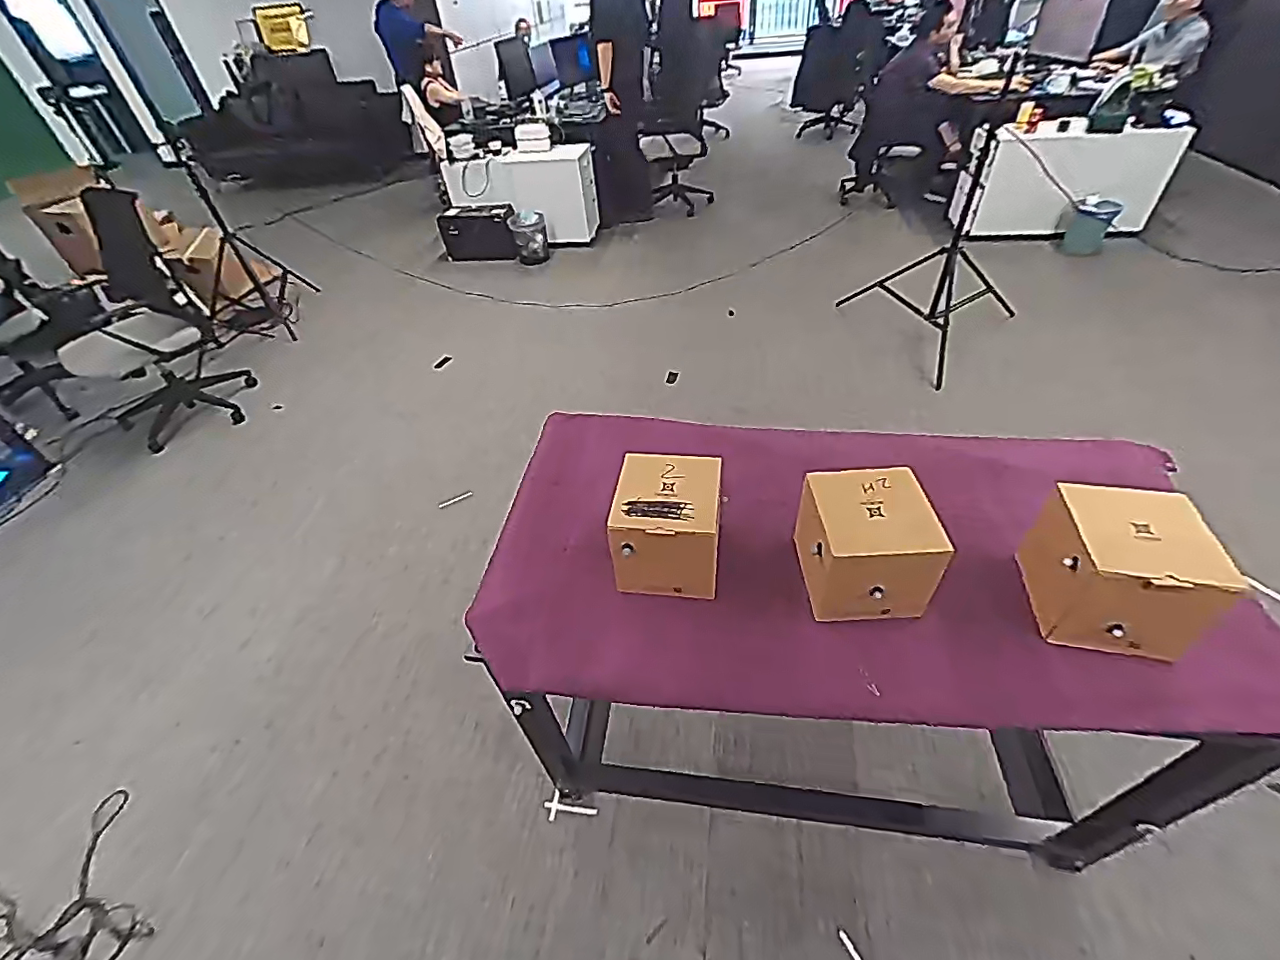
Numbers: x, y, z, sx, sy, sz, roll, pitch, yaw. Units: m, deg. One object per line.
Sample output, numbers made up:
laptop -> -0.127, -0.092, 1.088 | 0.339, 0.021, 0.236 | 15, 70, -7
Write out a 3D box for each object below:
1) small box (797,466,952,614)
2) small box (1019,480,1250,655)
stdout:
small box -> 0.355, 0.100, 0.858 | 0.168, 0.176, 0.179 | -3, 43, 3
small box -> 0.693, 0.125, 0.791 | 0.168, 0.176, 0.179 | 5, 43, 13
